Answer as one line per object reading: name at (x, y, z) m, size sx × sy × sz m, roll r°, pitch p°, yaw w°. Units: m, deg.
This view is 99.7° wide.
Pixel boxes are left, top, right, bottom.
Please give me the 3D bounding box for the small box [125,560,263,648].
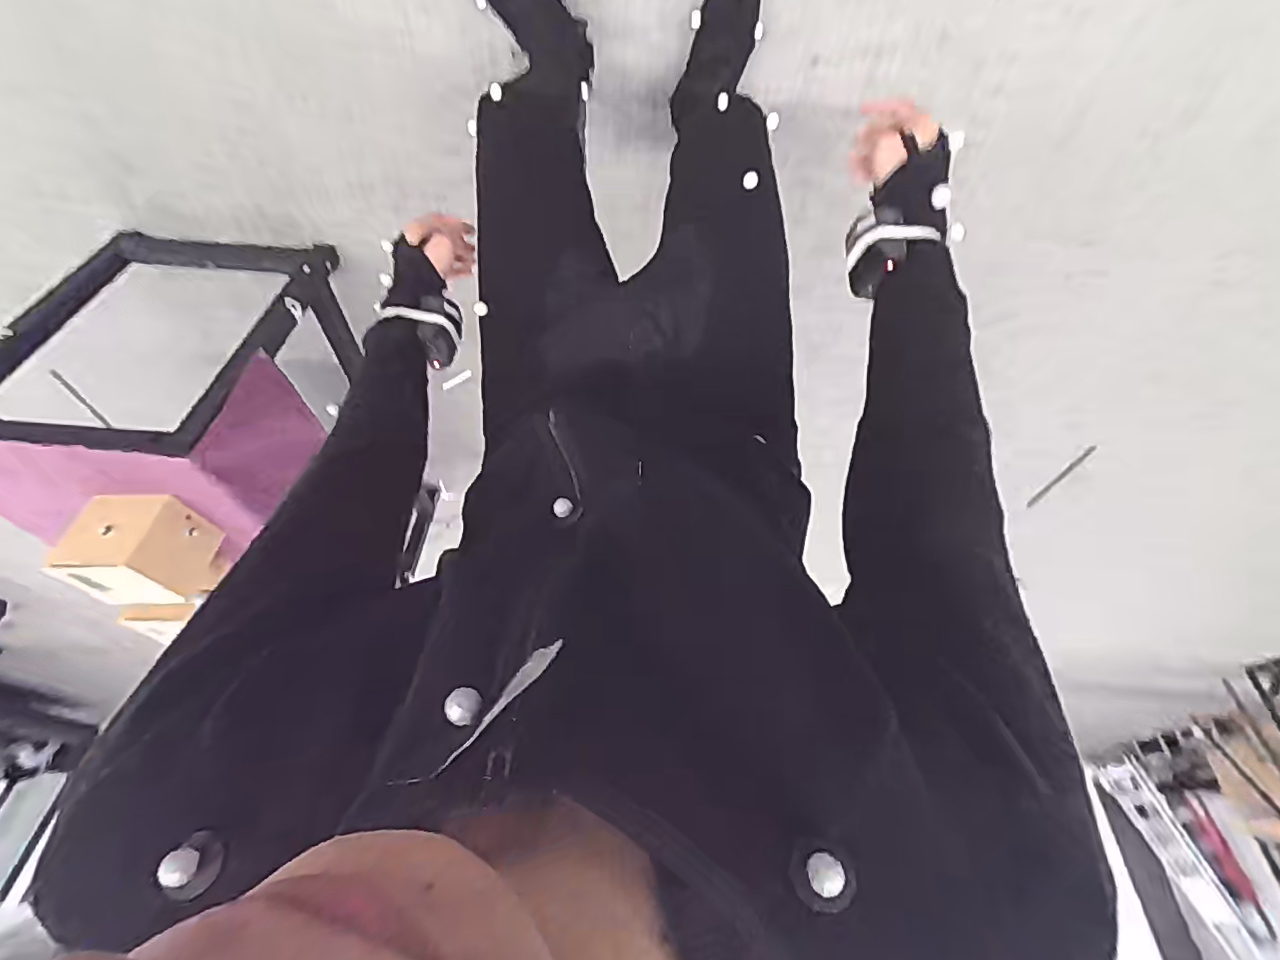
small box at (-1.106, 0.310, 1.360) m, size 0.179 × 0.176 × 0.168 m, roll 0°, pitch 143°, yaw 3°
